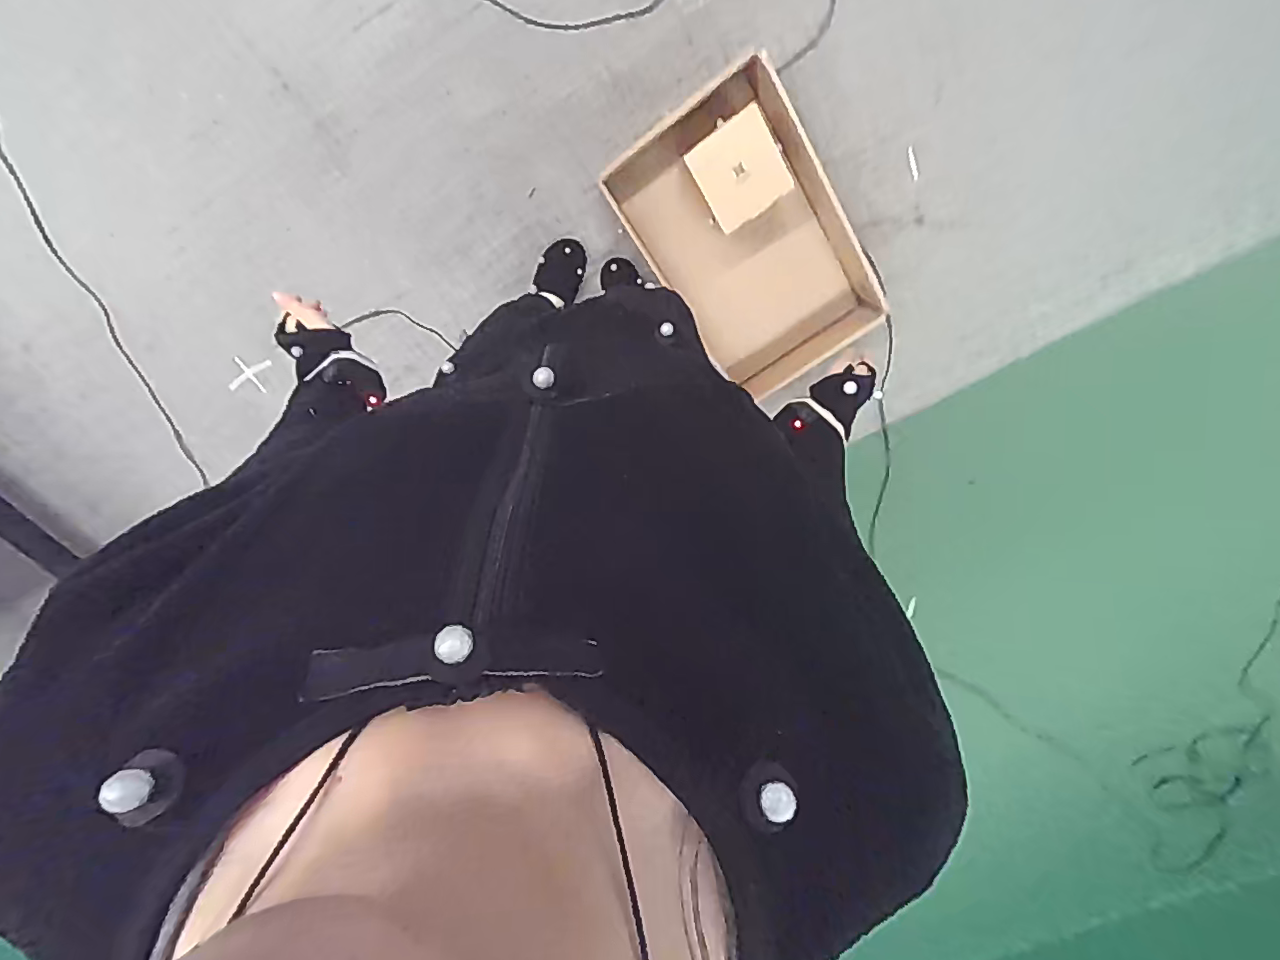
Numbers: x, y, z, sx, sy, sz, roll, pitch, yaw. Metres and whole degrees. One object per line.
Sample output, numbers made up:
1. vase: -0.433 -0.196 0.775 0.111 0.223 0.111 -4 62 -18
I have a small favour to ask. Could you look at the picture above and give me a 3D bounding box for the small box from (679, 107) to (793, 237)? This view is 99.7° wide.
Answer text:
1. small box: 0.197 -0.648 1.158 0.168 0.176 0.179 -31 114 14
